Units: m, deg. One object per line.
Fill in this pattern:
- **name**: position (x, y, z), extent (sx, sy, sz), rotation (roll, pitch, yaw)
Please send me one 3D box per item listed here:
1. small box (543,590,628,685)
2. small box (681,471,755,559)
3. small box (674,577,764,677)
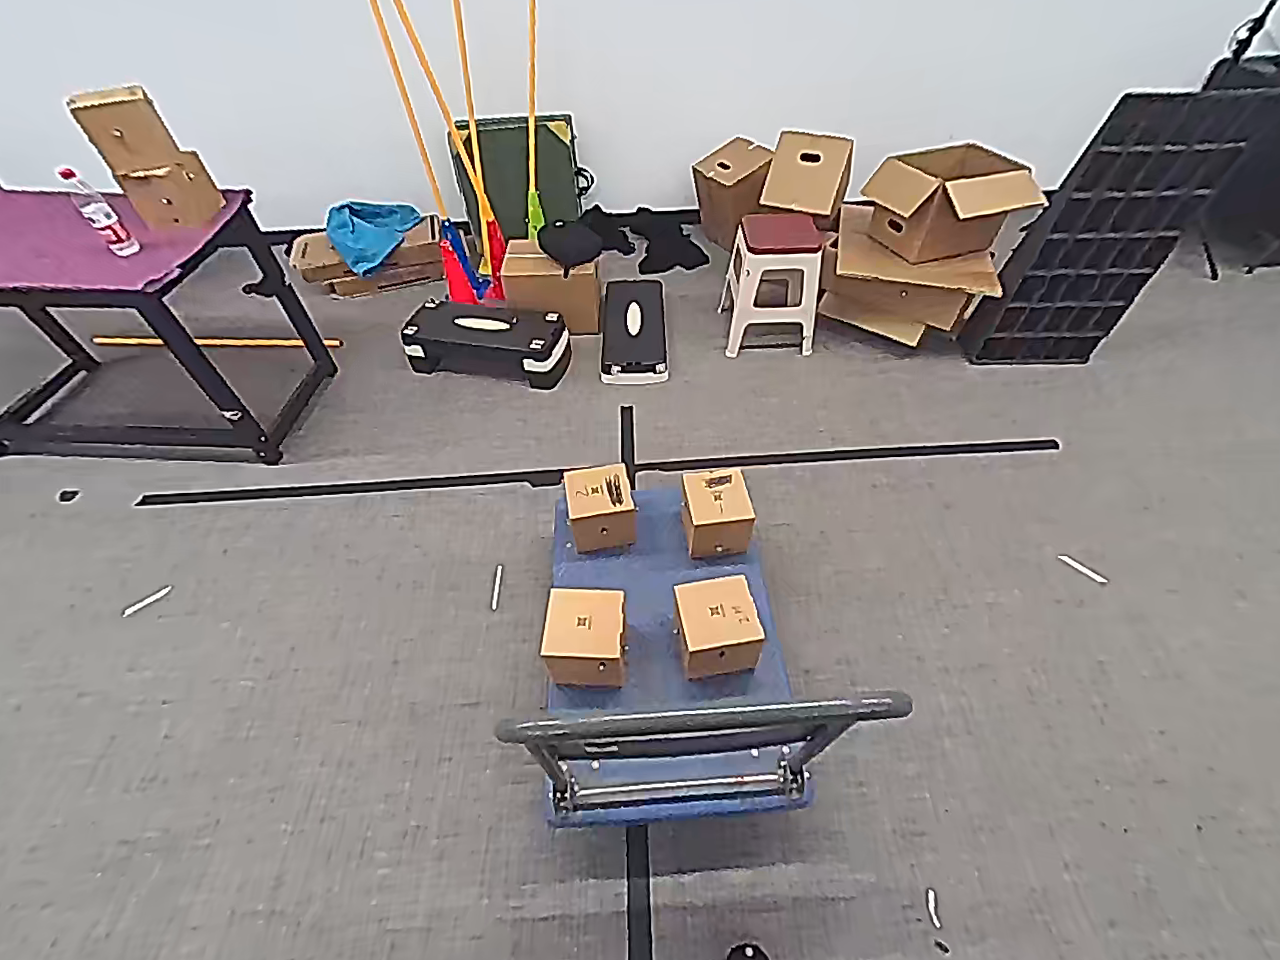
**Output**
- **small box**: position (-0.123, 0.379, 1.289), extent (0.179, 0.176, 0.168), rotation (2, 50, 1)
- **small box**: position (0.211, 0.098, 1.514), extent (0.168, 0.176, 0.179), rotation (-6, 51, -3)
- **small box**: position (0.182, 0.357, 1.297), extent (0.179, 0.176, 0.168), rotation (-8, 50, -5)
